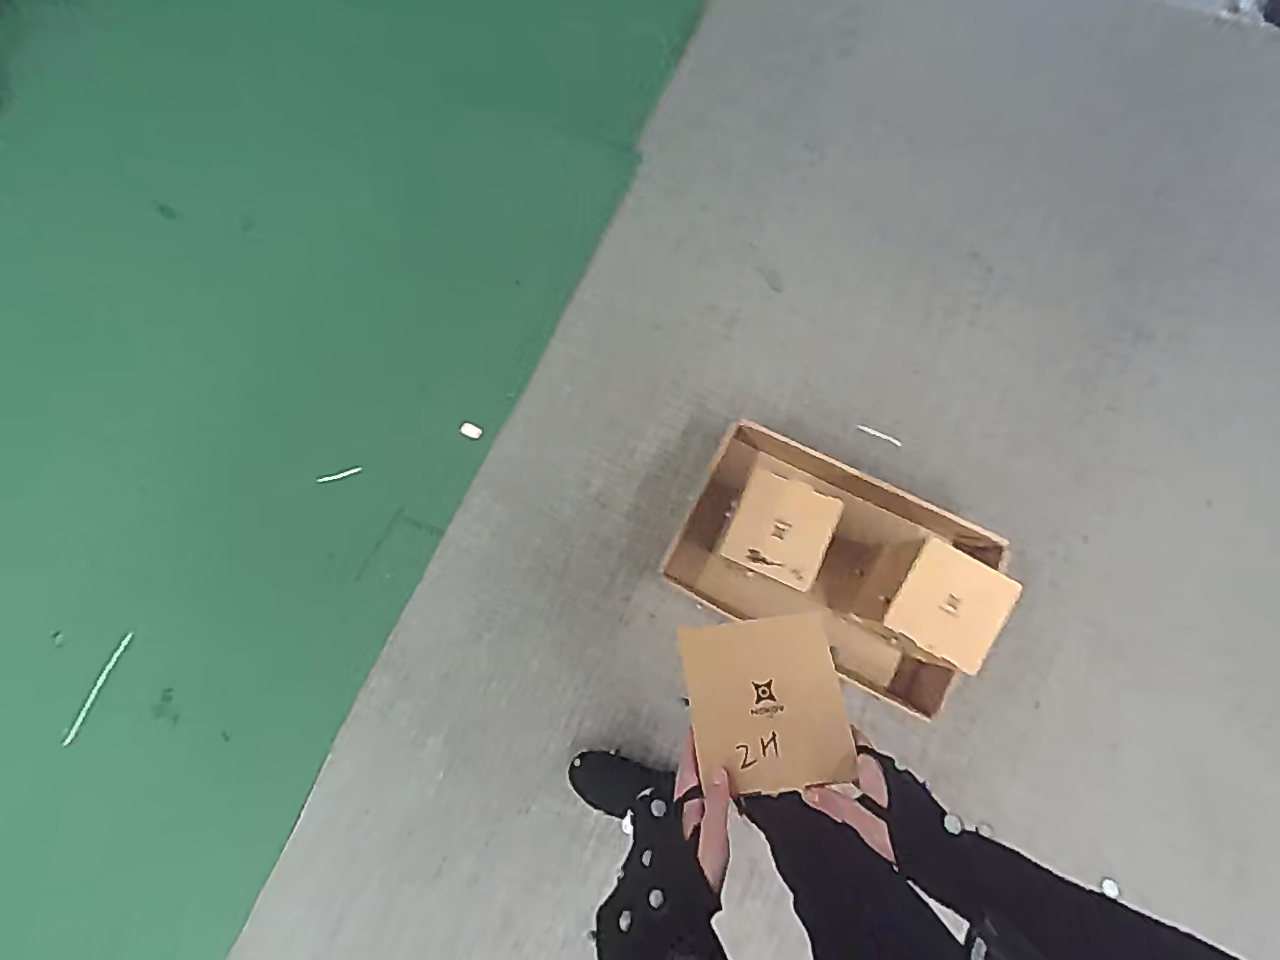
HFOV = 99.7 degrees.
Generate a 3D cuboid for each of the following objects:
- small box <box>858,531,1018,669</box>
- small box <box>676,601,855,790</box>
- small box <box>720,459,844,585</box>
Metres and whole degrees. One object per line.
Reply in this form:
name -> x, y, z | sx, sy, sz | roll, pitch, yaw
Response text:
small box -> 0.527, 0.209, 0.986 | 0.168, 0.176, 0.179 | 31, 86, 8
small box -> 0.137, 0.259, 0.658 | 0.168, 0.176, 0.179 | -10, 67, 3
small box -> 0.257, 0.085, 1.026 | 0.168, 0.176, 0.179 | 25, 84, 10
